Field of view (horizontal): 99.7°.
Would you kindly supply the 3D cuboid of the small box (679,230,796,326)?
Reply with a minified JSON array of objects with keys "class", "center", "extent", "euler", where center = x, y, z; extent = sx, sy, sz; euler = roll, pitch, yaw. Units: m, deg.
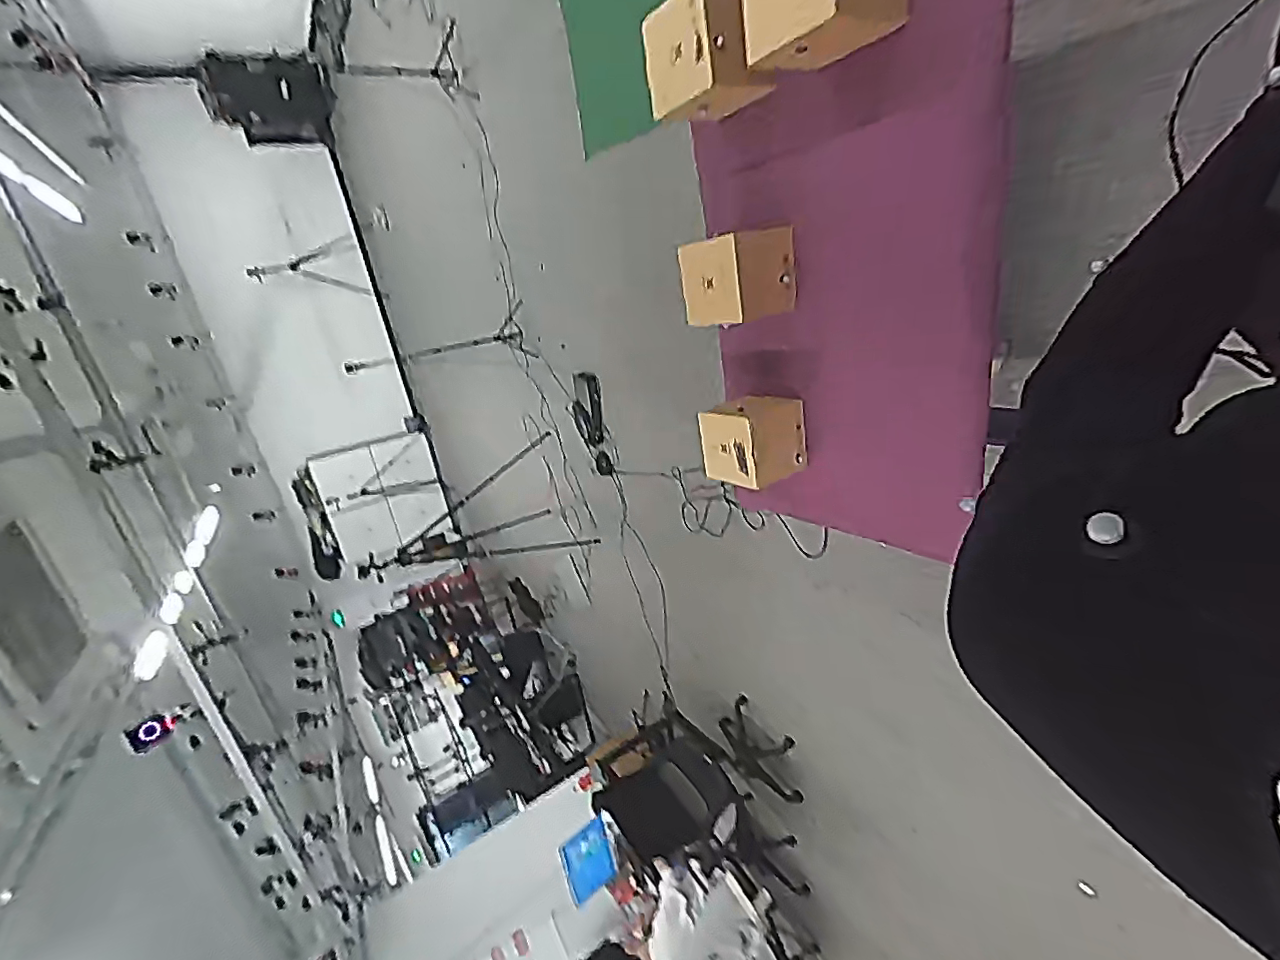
[{"class":"small box","center":[0.209,-0.427,1.156],"extent":[0.179,0.176,0.168],"euler":[19,125,54]}]

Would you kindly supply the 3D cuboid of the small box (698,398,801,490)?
[{"class":"small box","center":[0.263,-0.093,1.272],"extent":[0.179,0.176,0.168],"euler":[18,123,55]}]

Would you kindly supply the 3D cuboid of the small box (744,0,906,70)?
[{"class":"small box","center":[0.277,-0.750,0.821],"extent":[0.179,0.176,0.168],"euler":[23,128,55]}]

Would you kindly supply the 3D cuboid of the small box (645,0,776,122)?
[{"class":"small box","center":[0.135,-0.804,1.035],"extent":[0.179,0.176,0.168],"euler":[18,124,55]}]
